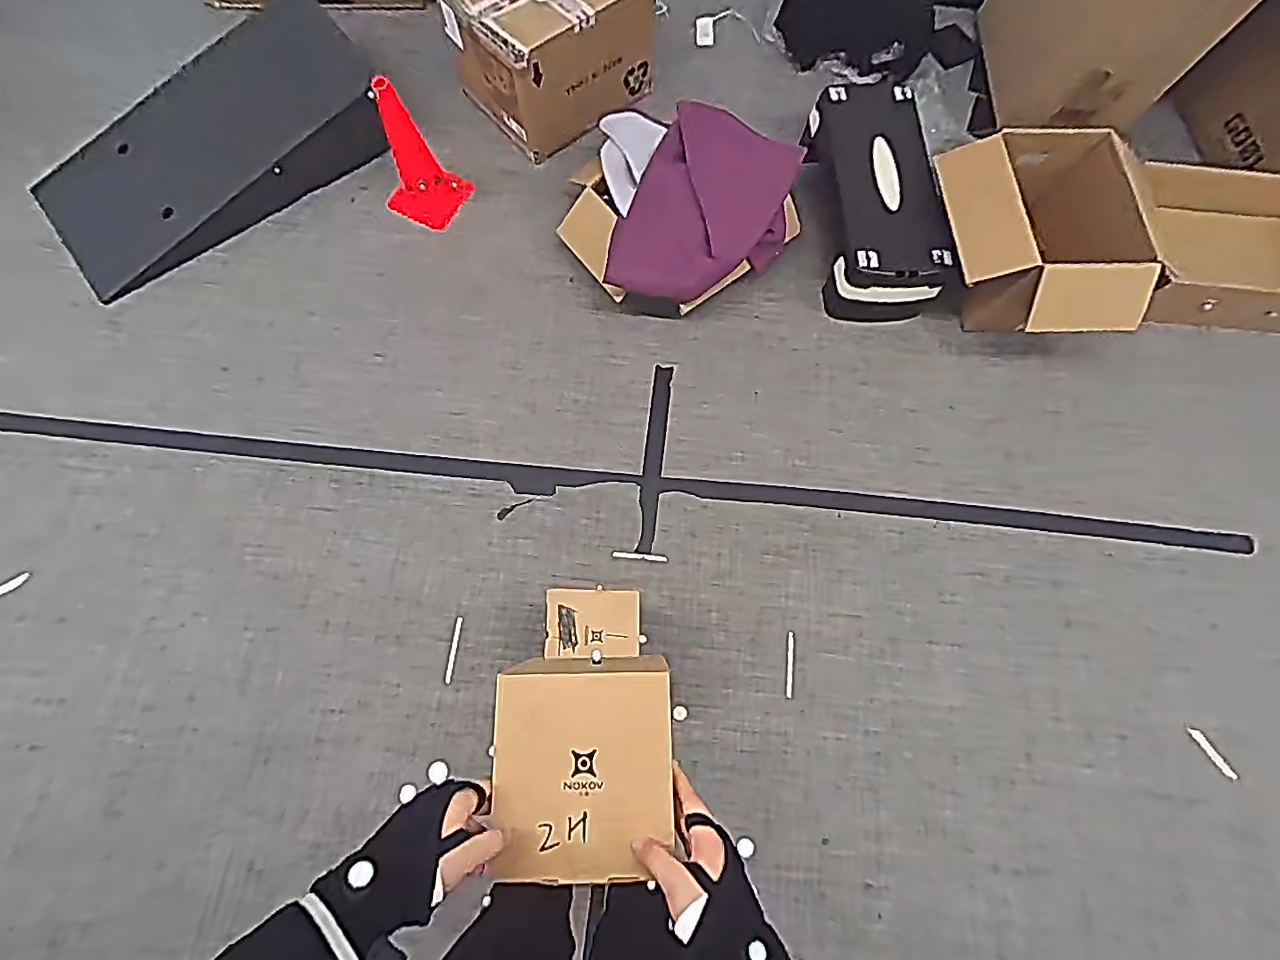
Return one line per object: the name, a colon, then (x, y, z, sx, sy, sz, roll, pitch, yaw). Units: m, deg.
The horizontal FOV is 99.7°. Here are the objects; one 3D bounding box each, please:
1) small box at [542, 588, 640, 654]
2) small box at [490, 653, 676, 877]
small box: (-0.090, 0.304, 1.058, 0.179, 0.176, 0.168, 1, 74, -2)
small box: (-0.051, 0.278, 0.568, 0.168, 0.176, 0.179, -1, 78, 0)
